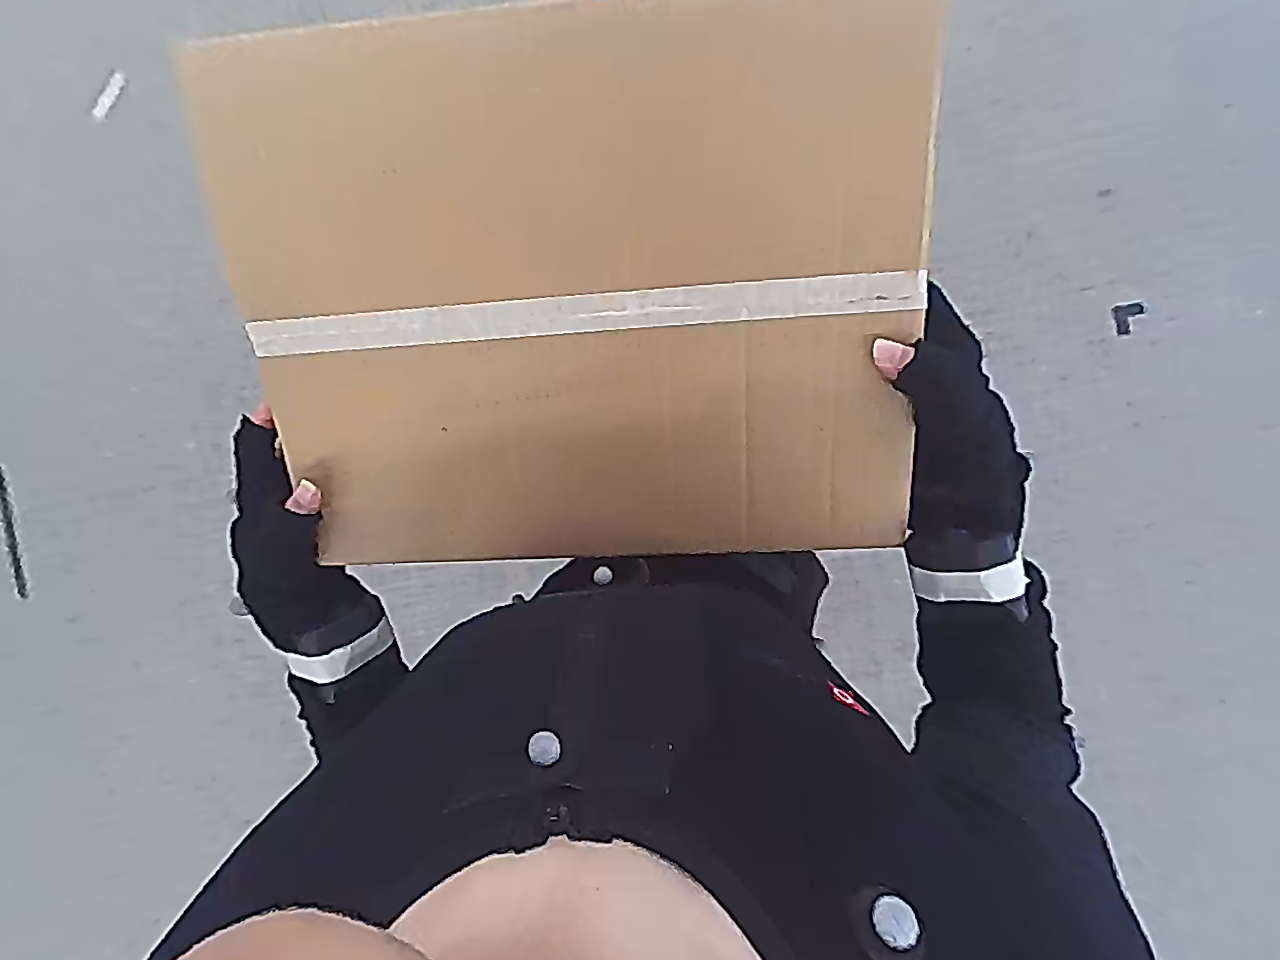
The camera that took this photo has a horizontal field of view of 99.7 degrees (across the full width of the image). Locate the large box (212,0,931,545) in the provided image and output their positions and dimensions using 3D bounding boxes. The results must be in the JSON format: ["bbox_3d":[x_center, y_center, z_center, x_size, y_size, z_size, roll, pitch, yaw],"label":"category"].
[{"bbox_3d":[-0.029,-0.153,0.474,0.408,0.320,0.320,-2,108,5],"label":"large box"}]
